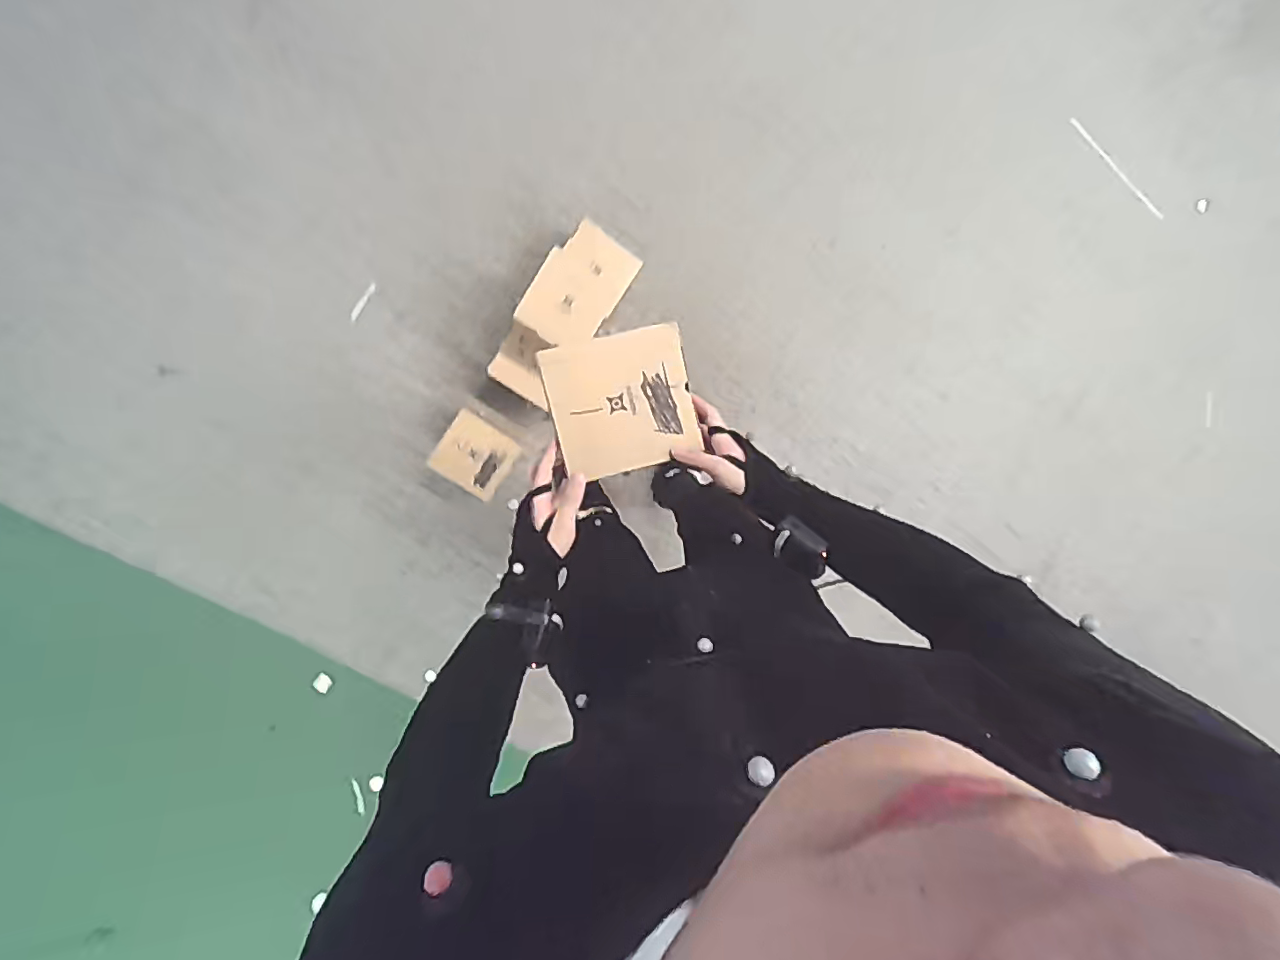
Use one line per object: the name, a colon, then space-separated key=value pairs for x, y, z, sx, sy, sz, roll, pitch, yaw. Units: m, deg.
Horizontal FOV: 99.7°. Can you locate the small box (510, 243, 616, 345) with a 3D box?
small box: x=-0.174 y=-0.387 z=1.213 sx=0.168 sy=0.176 sz=0.179 roll=31 pitch=91 yaw=-15

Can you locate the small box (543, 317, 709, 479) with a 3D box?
small box: x=-0.028 y=-0.109 z=0.722 sx=0.179 sy=0.176 sz=0.168 roll=-14 pitch=99 yaw=-8

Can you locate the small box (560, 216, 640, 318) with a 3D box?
small box: x=-0.127 y=-0.524 z=1.369 sx=0.179 sy=0.176 sz=0.168 roll=33 pitch=92 yaw=-14
